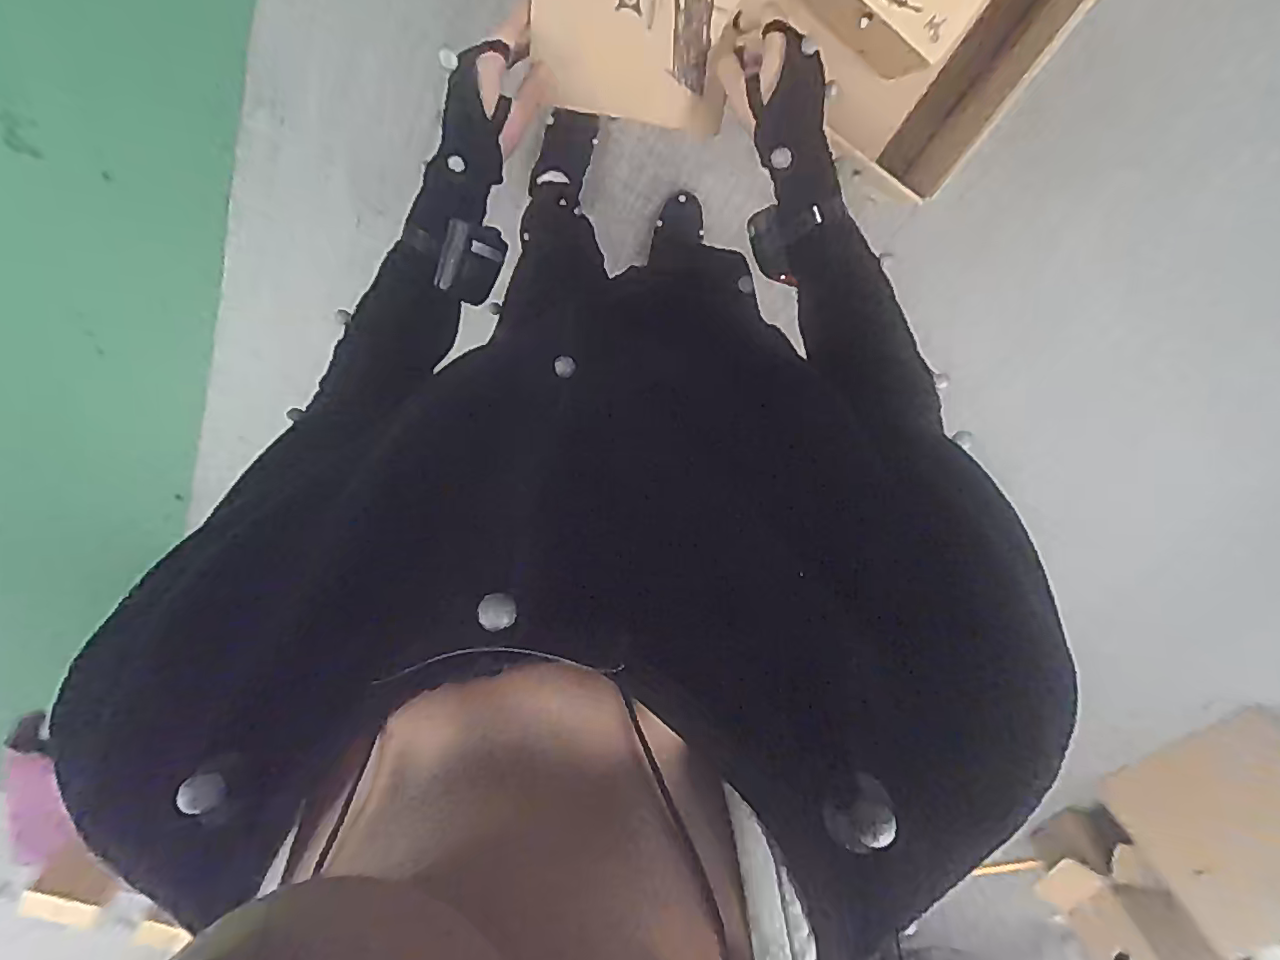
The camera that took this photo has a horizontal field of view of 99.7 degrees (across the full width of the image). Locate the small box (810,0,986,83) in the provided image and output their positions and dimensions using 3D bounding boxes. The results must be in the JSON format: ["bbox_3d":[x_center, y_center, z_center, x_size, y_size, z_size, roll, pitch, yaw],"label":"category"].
[{"bbox_3d":[0.336,-0.636,0.664,0.168,0.176,0.179,30,117,-13],"label":"small box"}]

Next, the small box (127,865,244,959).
[{"bbox_3d":[-1.210,1.173,1.451,0.168,0.176,0.179,31,117,-15],"label":"small box"}]

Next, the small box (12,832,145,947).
[{"bbox_3d":[-1.427,1.045,1.383,0.168,0.176,0.179,32,117,-17],"label":"small box"}]

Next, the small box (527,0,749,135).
[{"bbox_3d":[-0.007,-0.433,0.495,0.179,0.176,0.168,4,125,-10],"label":"small box"}]
